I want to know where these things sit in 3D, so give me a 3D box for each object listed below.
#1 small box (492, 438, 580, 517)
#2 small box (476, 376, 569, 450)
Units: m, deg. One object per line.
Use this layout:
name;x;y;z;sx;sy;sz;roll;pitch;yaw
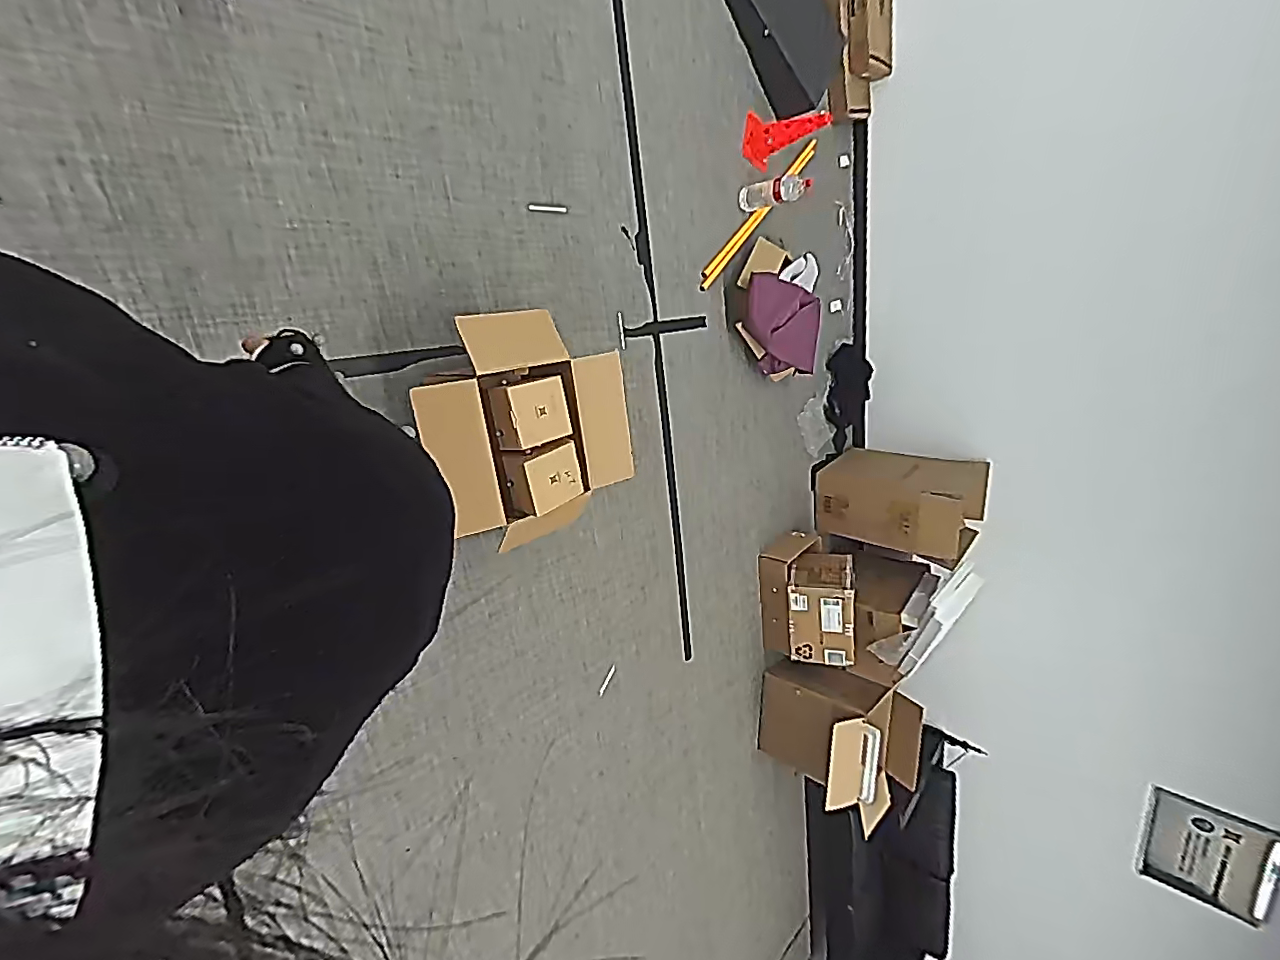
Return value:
small box;-0.300;-0.017;1.539;0.179;0.176;0.168;-30;122;-39
small box;-0.328;-0.184;1.480;0.179;0.176;0.168;-27;113;-42
